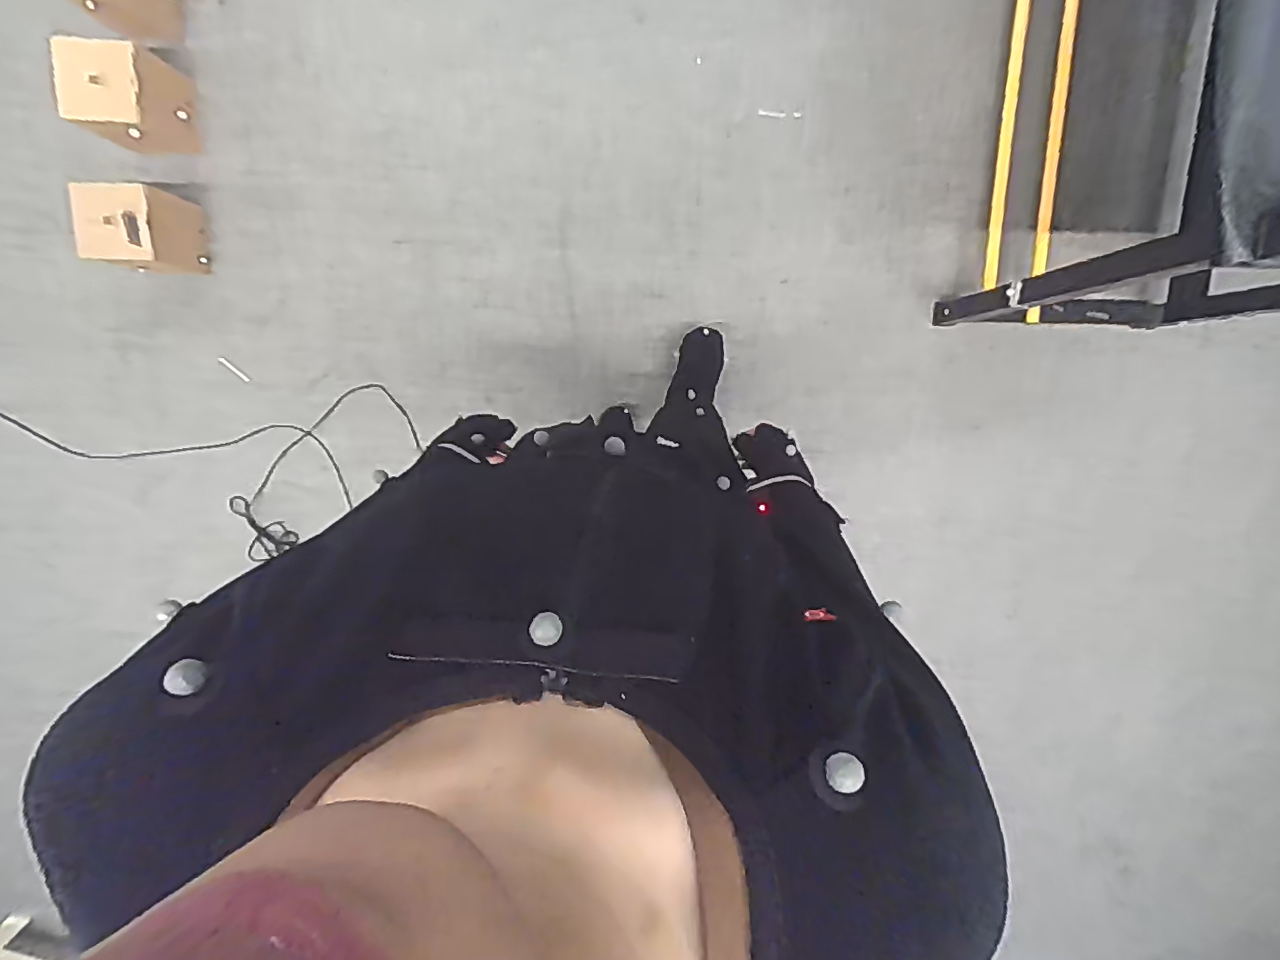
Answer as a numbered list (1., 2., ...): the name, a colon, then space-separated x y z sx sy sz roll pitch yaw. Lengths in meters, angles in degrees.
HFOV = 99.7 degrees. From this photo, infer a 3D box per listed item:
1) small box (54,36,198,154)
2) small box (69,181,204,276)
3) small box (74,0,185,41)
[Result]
1. small box: -1.180 -0.882 1.253 0.179 0.176 0.168 3 99 -1
2. small box: -1.189 -0.594 1.295 0.179 0.176 0.168 2 99 0
3. small box: -1.177 -1.136 1.213 0.179 0.176 0.168 10 99 -3
